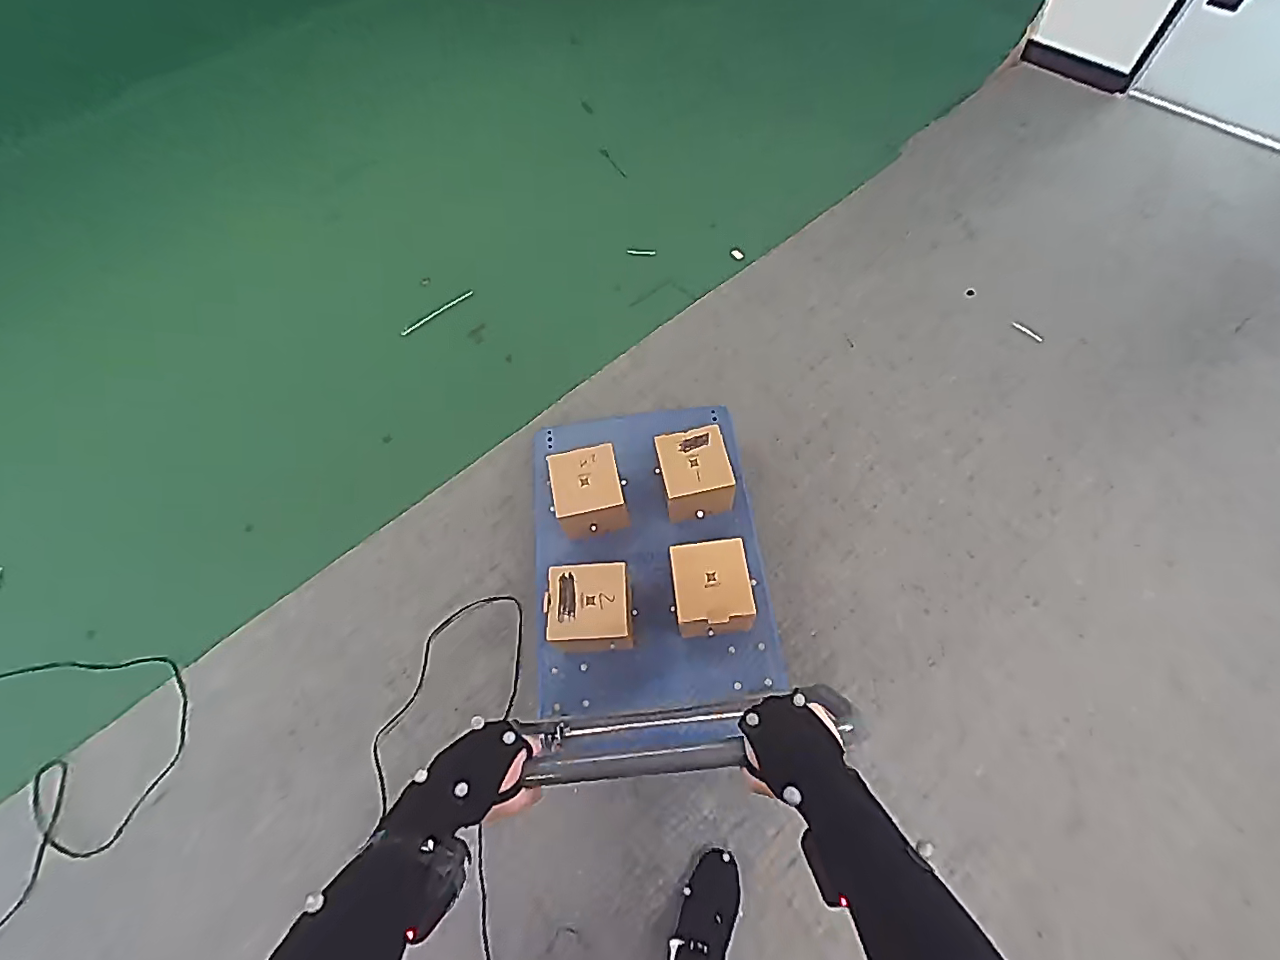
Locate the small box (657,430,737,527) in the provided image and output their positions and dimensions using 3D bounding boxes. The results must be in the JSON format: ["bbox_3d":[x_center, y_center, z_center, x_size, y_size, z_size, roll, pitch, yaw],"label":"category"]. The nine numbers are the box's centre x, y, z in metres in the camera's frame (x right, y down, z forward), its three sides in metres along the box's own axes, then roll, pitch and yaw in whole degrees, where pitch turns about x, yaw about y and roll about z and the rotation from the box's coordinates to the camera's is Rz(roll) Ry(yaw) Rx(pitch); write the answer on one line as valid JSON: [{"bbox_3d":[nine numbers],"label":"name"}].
[{"bbox_3d":[0.141,-0.001,1.380,0.168,0.176,0.179,-12,64,-1],"label":"small box"}]

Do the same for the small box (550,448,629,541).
[{"bbox_3d":[-0.125,0.045,1.378,0.168,0.176,0.179,-11,63,-2],"label":"small box"}]

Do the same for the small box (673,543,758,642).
[{"bbox_3d":[0.165,0.263,1.246,0.168,0.176,0.179,-7,63,1],"label":"small box"}]
